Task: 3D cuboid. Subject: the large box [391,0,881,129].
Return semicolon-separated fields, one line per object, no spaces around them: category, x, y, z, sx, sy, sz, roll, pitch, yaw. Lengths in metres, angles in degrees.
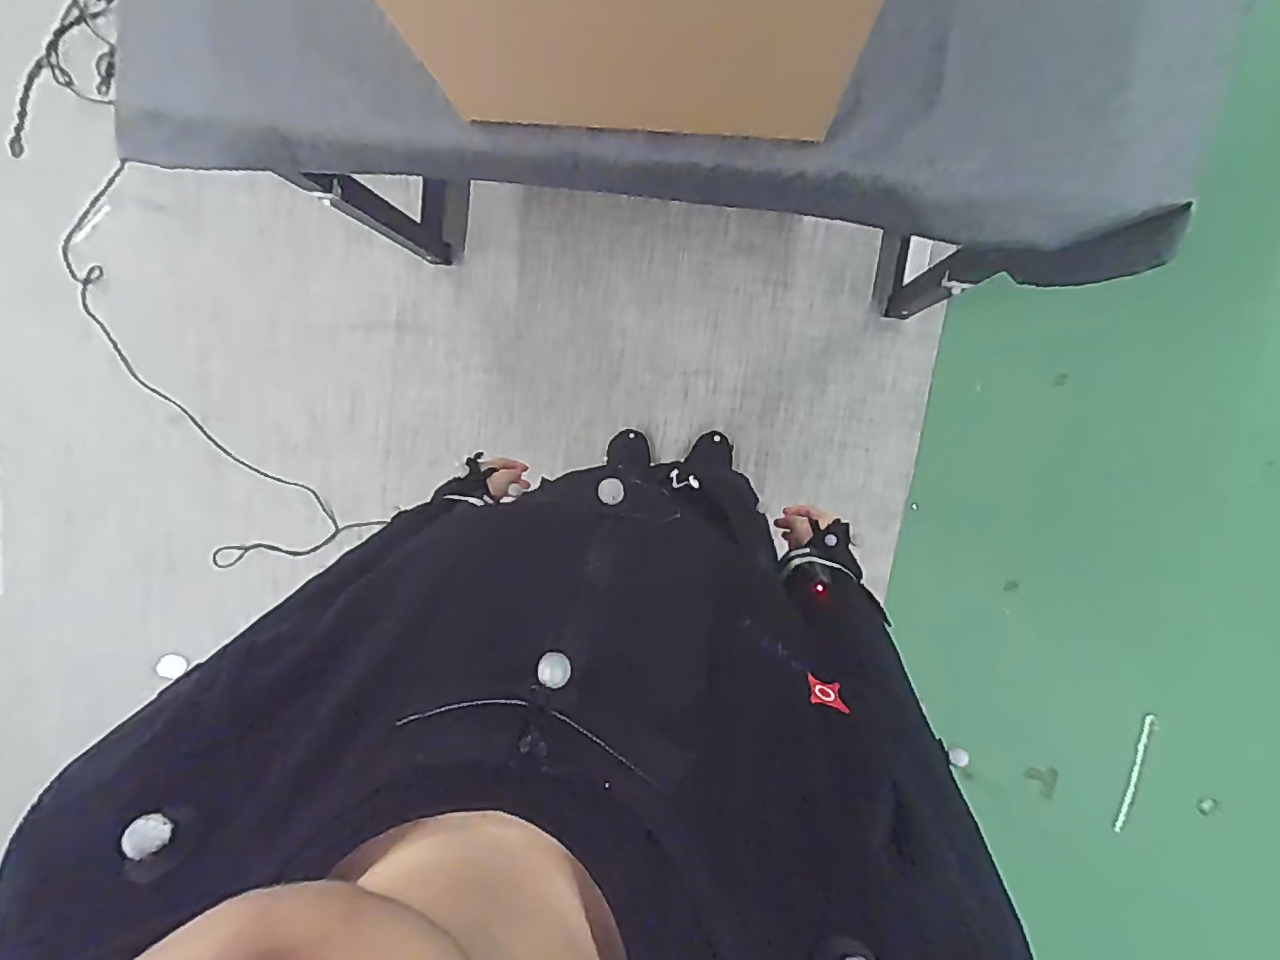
large box;0.000;-0.529;0.434;0.408;0.320;0.320;6;96;4
